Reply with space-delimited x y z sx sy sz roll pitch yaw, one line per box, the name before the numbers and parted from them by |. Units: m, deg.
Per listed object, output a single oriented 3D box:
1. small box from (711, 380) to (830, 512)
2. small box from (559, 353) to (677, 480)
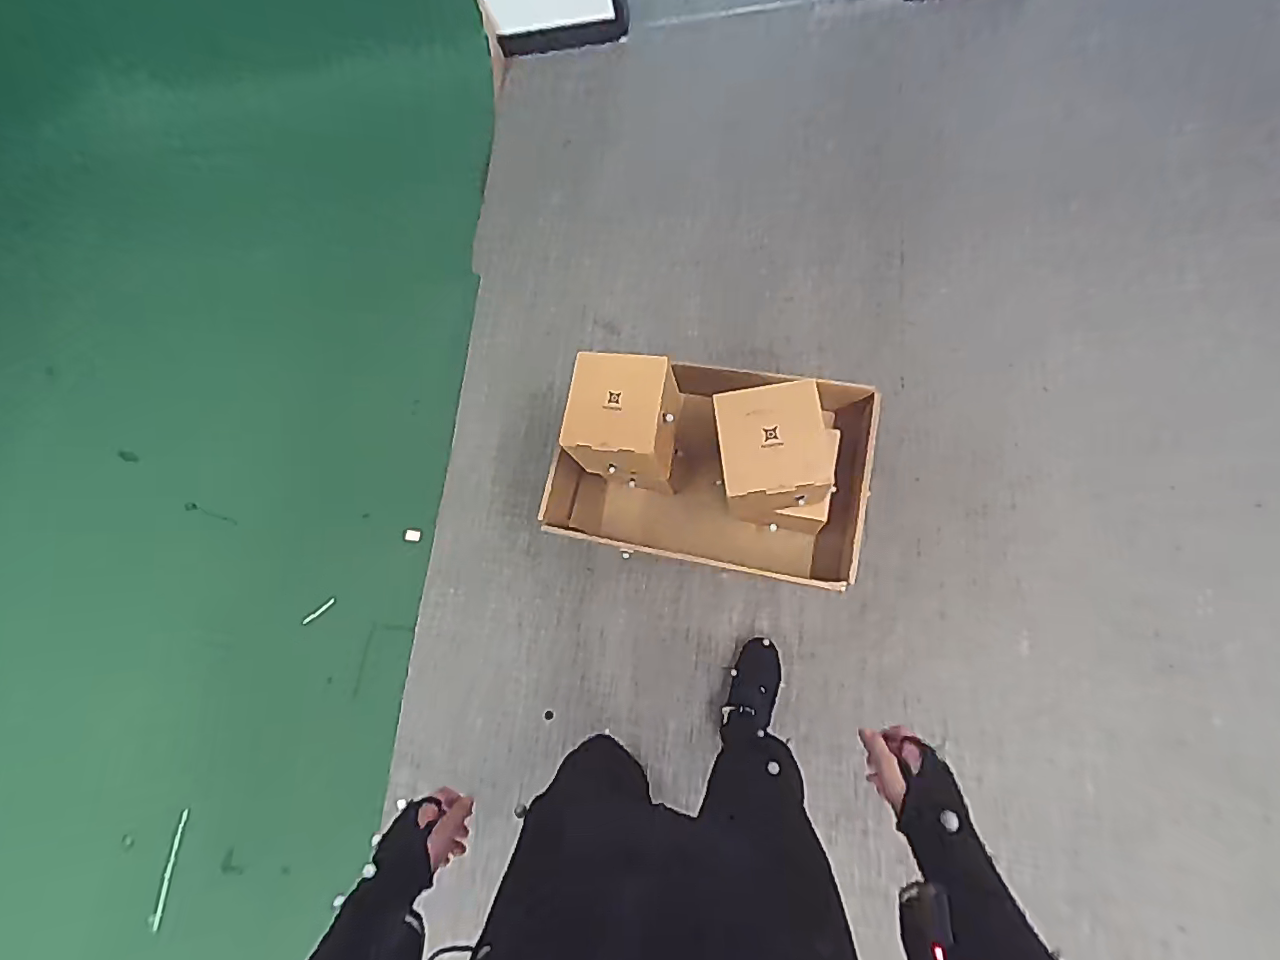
small box | 0.219 -0.047 0.924 0.168 0.176 0.179 -8 73 9
small box | -0.030 -0.112 0.997 0.168 0.176 0.179 7 77 14
